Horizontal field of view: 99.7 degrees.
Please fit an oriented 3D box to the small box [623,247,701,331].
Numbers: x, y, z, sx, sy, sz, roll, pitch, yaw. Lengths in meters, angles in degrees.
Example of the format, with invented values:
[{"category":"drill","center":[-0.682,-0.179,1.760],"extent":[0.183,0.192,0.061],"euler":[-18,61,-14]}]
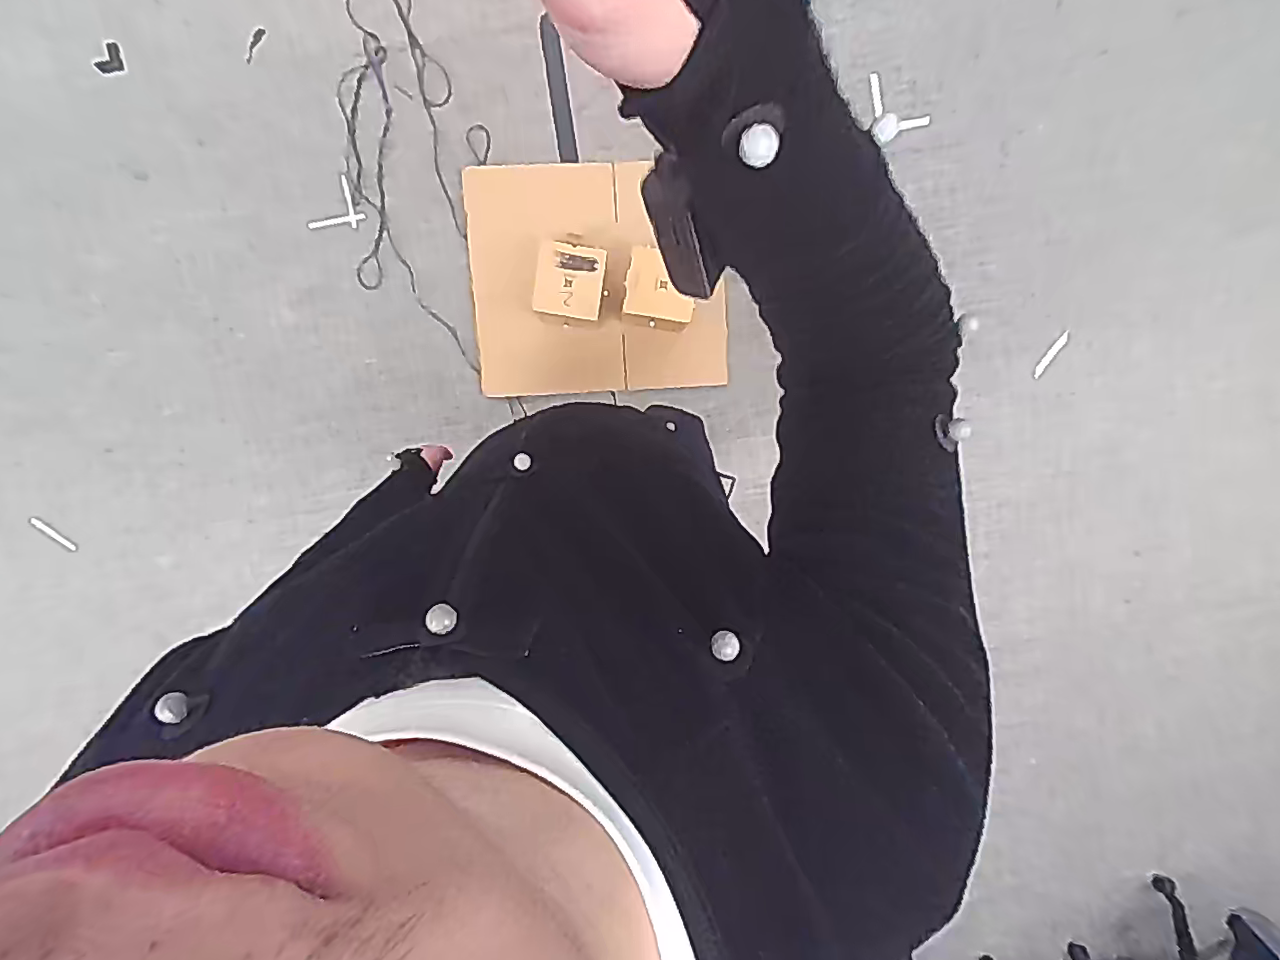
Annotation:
[{"category":"small box","center":[0.052,-0.500,1.441],"extent":[0.179,0.176,0.168],"euler":[9,97,-3]}]
